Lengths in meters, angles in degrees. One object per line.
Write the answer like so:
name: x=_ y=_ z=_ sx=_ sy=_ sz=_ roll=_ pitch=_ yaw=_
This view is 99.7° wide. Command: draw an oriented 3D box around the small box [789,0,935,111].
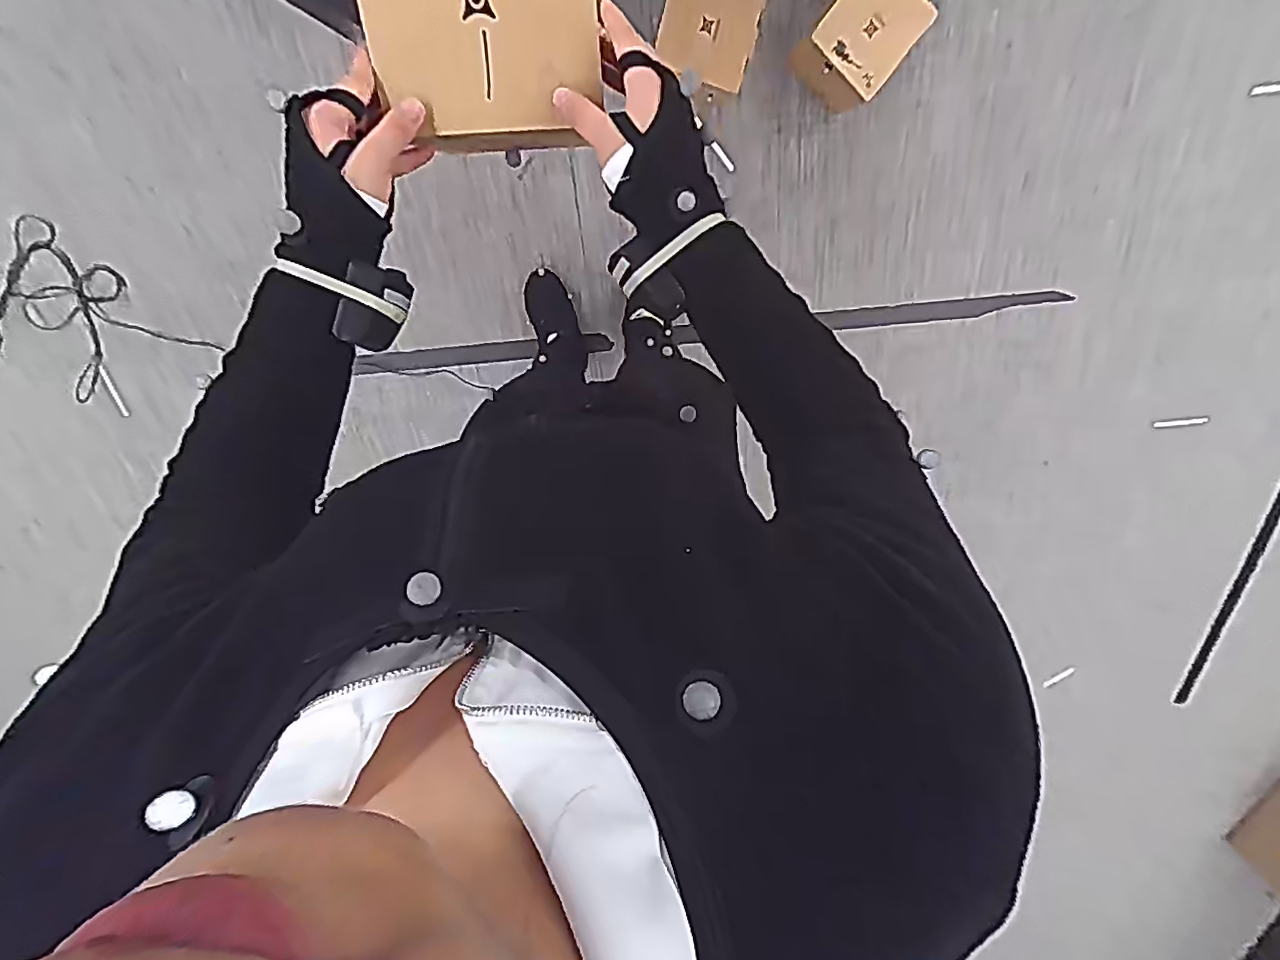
small box: x=0.422 y=-0.873 z=1.062 sx=0.168 sy=0.176 sz=0.179 roll=34 pitch=111 yaw=-18

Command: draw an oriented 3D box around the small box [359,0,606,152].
small box: x=-0.117 y=-0.377 z=0.439 sx=0.168 sy=0.176 sz=0.179 roll=-4 pitch=118 yaw=-2

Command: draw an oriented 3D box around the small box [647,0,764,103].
small box: x=0.119 y=-0.864 z=1.057 sx=0.179 sy=0.176 sz=0.168 roll=13 pitch=115 yaw=-8
